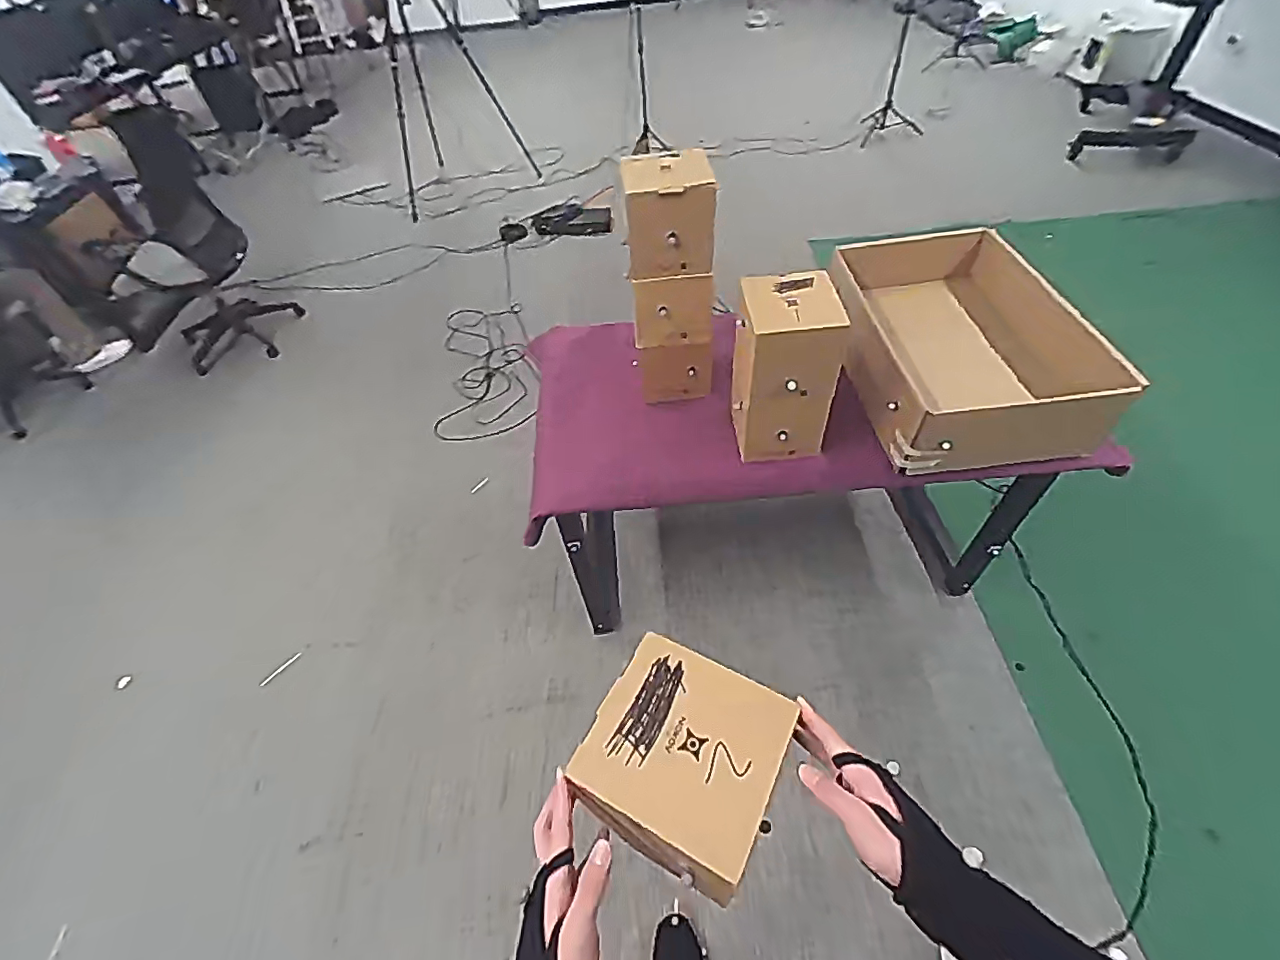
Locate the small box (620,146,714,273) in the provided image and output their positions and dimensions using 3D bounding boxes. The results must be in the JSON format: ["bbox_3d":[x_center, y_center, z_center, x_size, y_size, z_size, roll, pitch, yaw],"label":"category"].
[{"bbox_3d":[0.052,-0.523,1.062,0.168,0.176,0.179,-6,51,0],"label":"small box"}]

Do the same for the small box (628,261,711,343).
[{"bbox_3d":[0.064,-0.416,1.185,0.168,0.176,0.179,-6,50,1],"label":"small box"}]

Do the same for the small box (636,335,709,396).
[{"bbox_3d":[0.077,-0.317,1.312,0.168,0.176,0.179,-5,50,1],"label":"small box"}]

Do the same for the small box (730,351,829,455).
[{"bbox_3d":[0.290,-0.165,1.160,0.168,0.176,0.179,-4,50,2],"label":"small box"}]

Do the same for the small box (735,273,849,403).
[{"bbox_3d":[0.278,-0.270,1.035,0.168,0.176,0.179,-5,50,2],"label":"small box"}]
